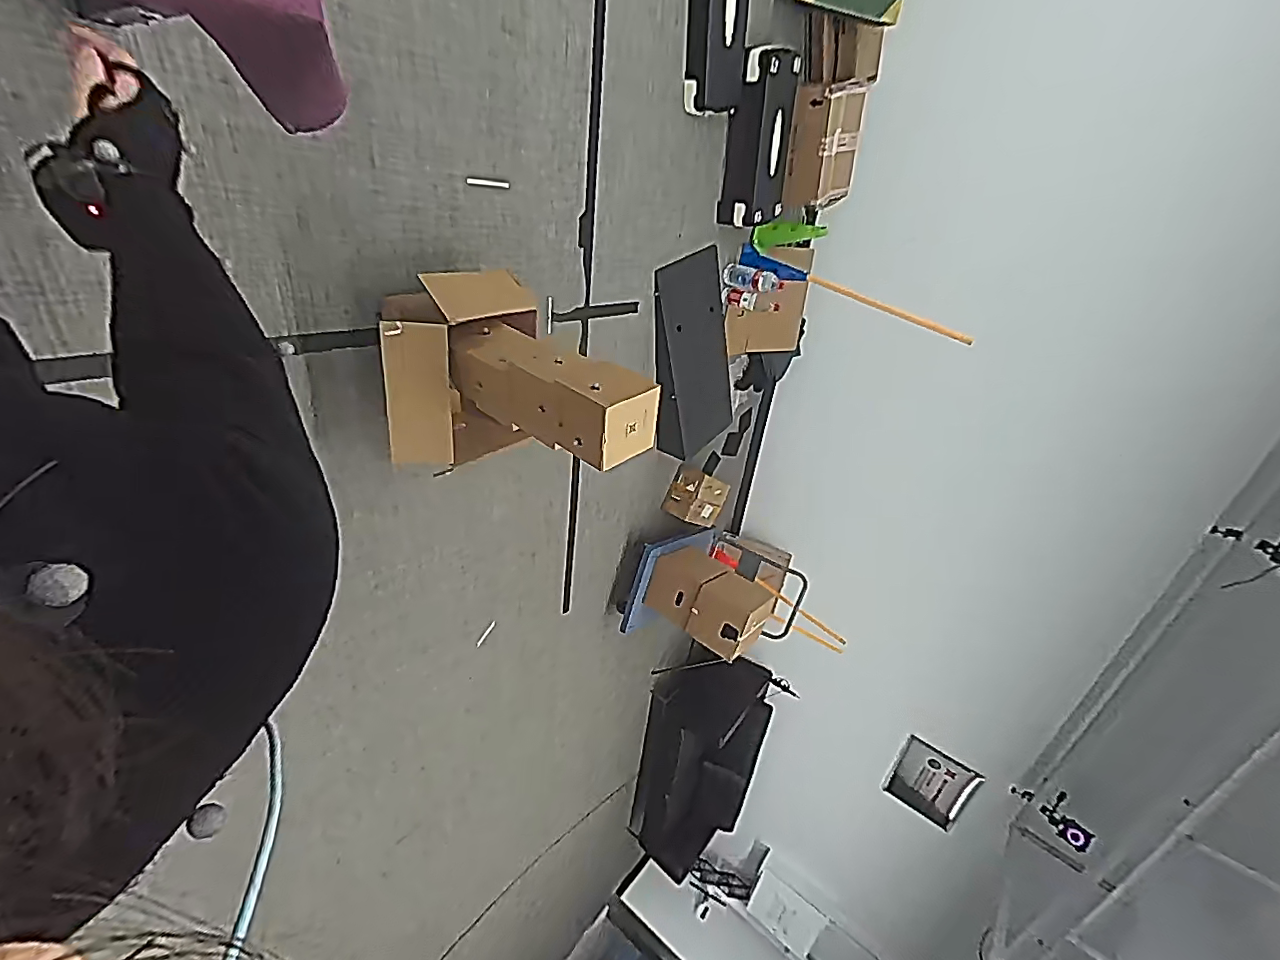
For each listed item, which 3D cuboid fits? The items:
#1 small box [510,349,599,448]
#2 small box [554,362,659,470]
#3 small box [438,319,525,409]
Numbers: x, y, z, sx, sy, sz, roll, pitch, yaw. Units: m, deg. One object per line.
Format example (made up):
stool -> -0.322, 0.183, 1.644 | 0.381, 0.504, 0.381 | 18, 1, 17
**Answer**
small box -> -0.205, -0.210, 1.332 | 0.168, 0.176, 0.179 | -30, 139, -38
small box -> -0.083, -0.153, 1.239 | 0.179, 0.176, 0.168 | -30, 140, -40
small box -> -0.439, -0.336, 1.528 | 0.168, 0.176, 0.179 | -42, 146, -28
